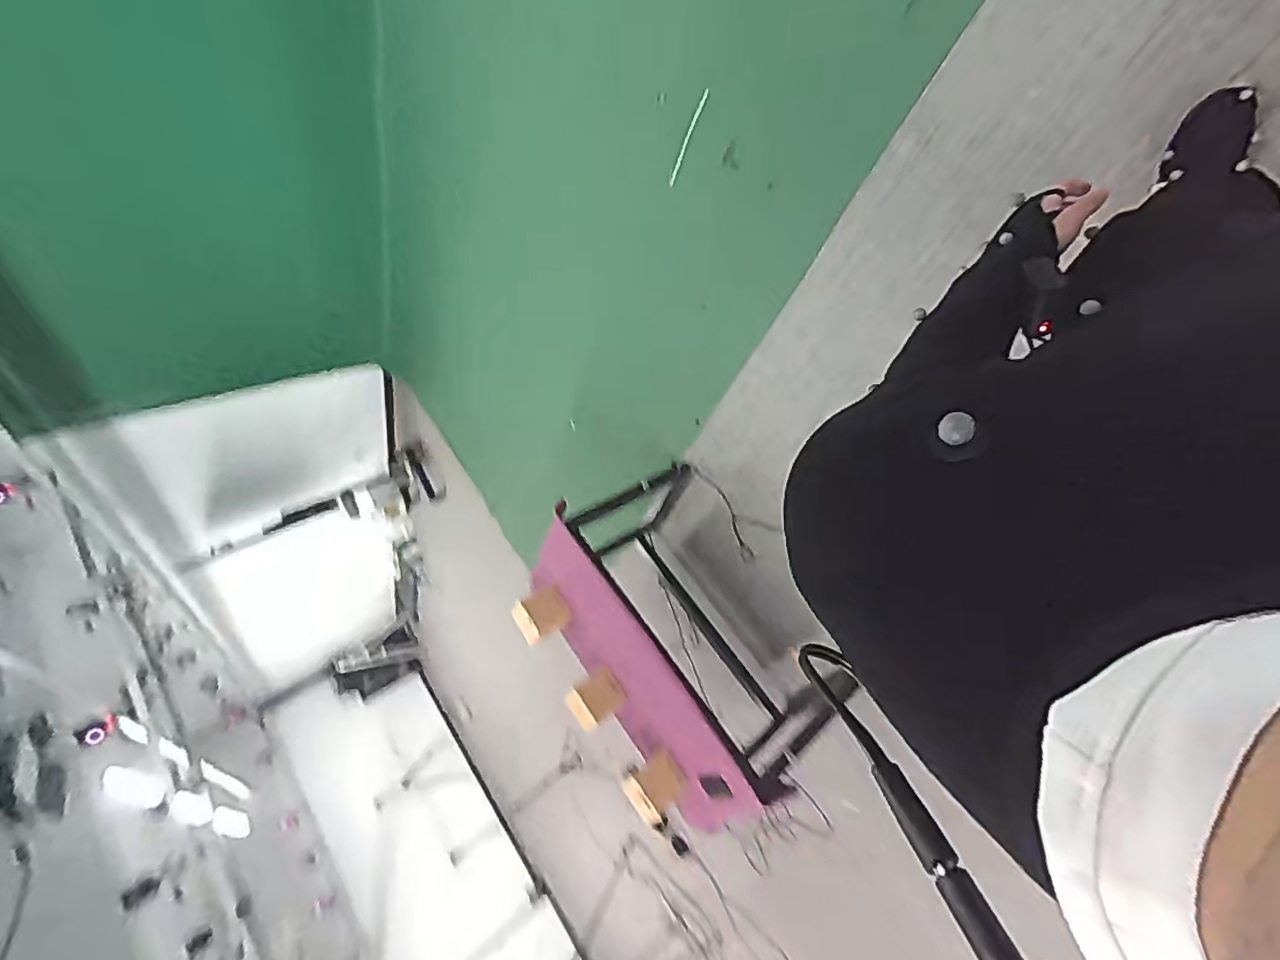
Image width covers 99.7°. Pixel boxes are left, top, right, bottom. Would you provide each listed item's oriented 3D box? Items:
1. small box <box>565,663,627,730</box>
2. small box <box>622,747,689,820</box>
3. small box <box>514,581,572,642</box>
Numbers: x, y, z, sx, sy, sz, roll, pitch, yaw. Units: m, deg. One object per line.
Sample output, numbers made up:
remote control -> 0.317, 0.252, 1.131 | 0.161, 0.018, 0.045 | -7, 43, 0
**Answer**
small box -> -0.176, 0.878, 2.198 | 0.168, 0.176, 0.179 | 50, 142, 18
small box -> 0.062, 1.149, 2.054 | 0.168, 0.176, 0.179 | 49, 143, 22
small box -> -0.414, 0.560, 2.308 | 0.168, 0.176, 0.179 | 52, 143, 15
